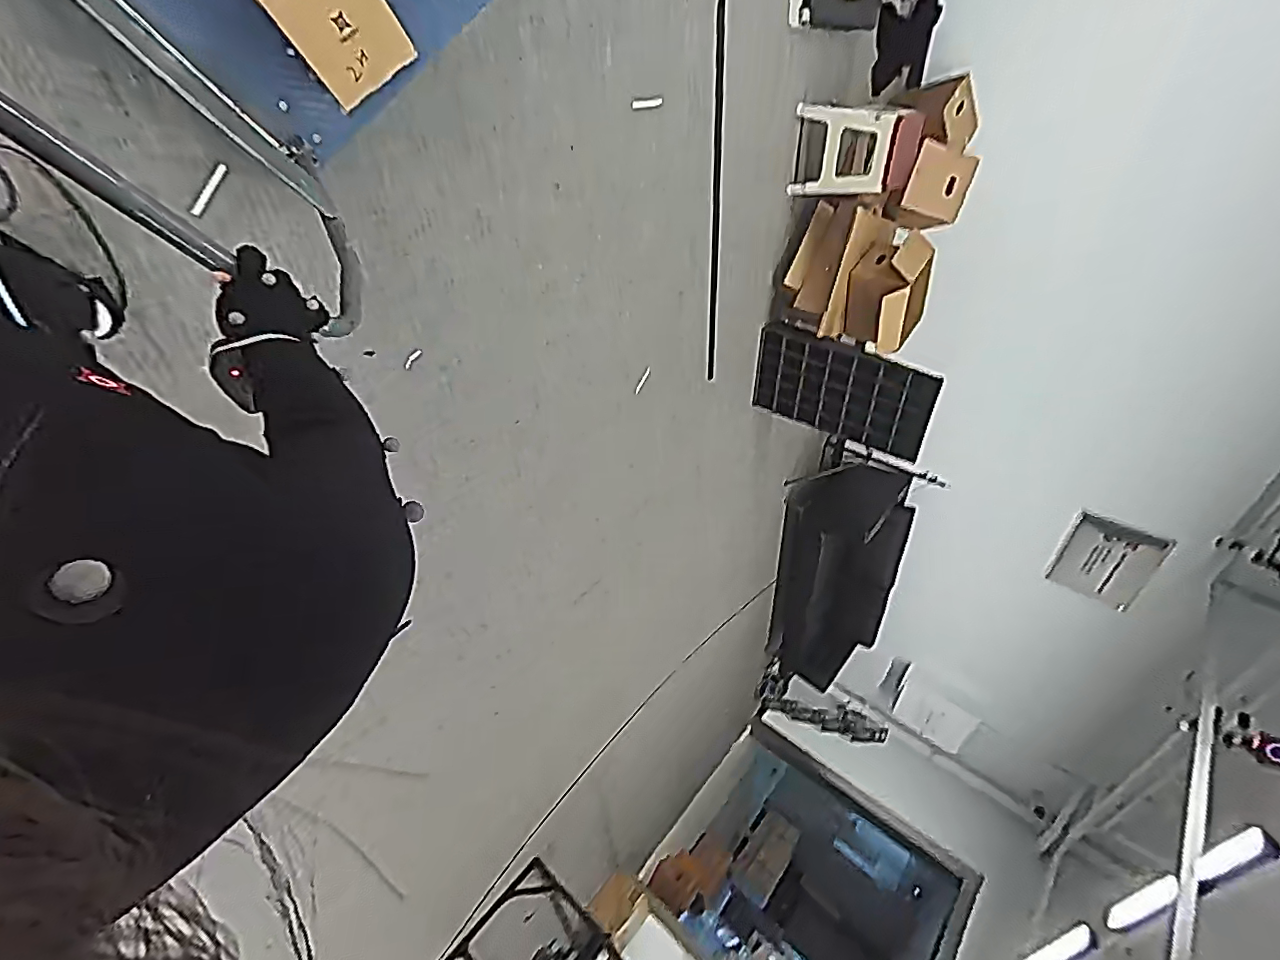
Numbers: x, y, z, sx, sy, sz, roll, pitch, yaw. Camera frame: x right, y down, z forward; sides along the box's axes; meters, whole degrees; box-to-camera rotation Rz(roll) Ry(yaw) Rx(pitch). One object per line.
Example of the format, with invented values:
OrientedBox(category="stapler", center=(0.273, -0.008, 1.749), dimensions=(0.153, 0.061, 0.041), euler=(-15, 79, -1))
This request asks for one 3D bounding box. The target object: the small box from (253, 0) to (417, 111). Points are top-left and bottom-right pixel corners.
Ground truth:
OrientedBox(category="small box", center=(-0.528, -0.785, 0.928), dimensions=(0.168, 0.176, 0.179), euler=(-39, 146, -1))
